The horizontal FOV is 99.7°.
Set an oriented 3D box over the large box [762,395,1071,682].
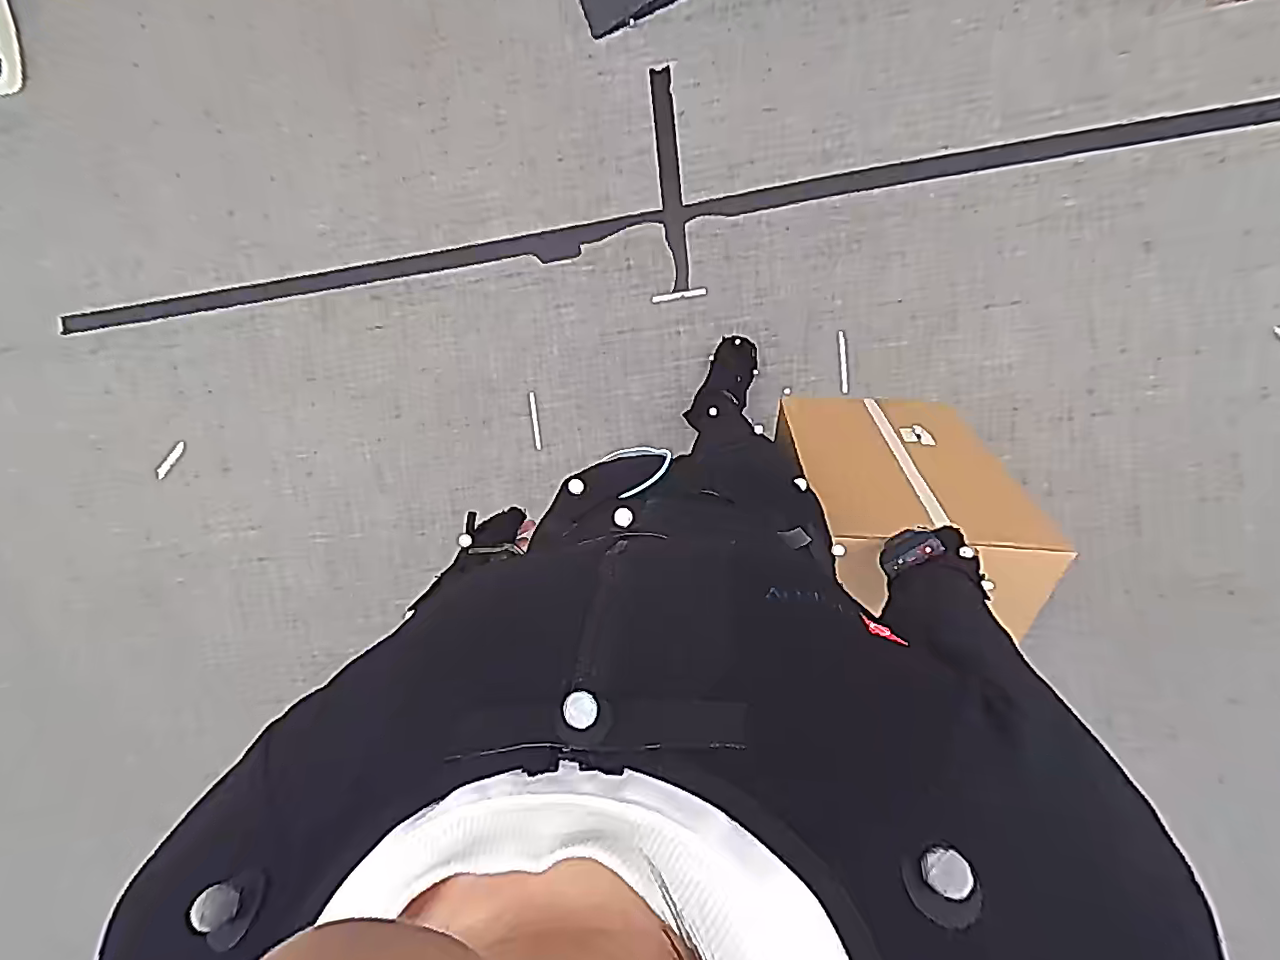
[{"bbox_3d":[0.407,0.084,0.934,0.320,0.408,0.320,4,125,2],"label":"large box"}]
